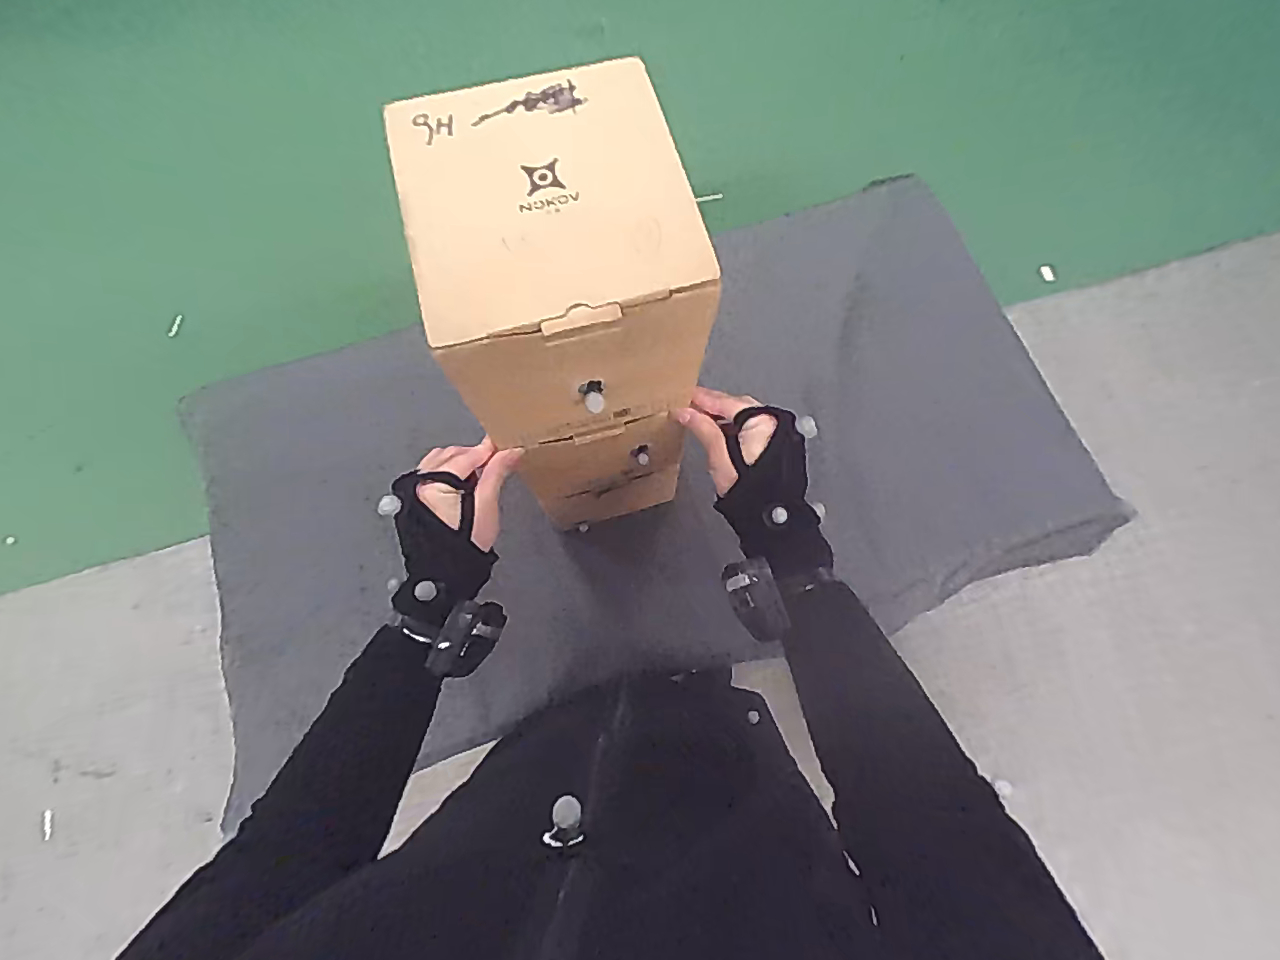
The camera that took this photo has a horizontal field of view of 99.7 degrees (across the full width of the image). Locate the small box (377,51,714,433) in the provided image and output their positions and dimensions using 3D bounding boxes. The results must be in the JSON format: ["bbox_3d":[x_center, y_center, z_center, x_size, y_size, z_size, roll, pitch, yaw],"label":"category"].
[{"bbox_3d":[-0.058,-0.145,0.386,0.168,0.176,0.179,-14,76,-6],"label":"small box"}]

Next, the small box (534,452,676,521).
[{"bbox_3d":[-0.056,-0.055,0.699,0.168,0.176,0.179,-16,75,-4],"label":"small box"}]

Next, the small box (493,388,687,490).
[{"bbox_3d":[-0.059,-0.099,0.544,0.168,0.176,0.179,-15,74,-5],"label":"small box"}]
